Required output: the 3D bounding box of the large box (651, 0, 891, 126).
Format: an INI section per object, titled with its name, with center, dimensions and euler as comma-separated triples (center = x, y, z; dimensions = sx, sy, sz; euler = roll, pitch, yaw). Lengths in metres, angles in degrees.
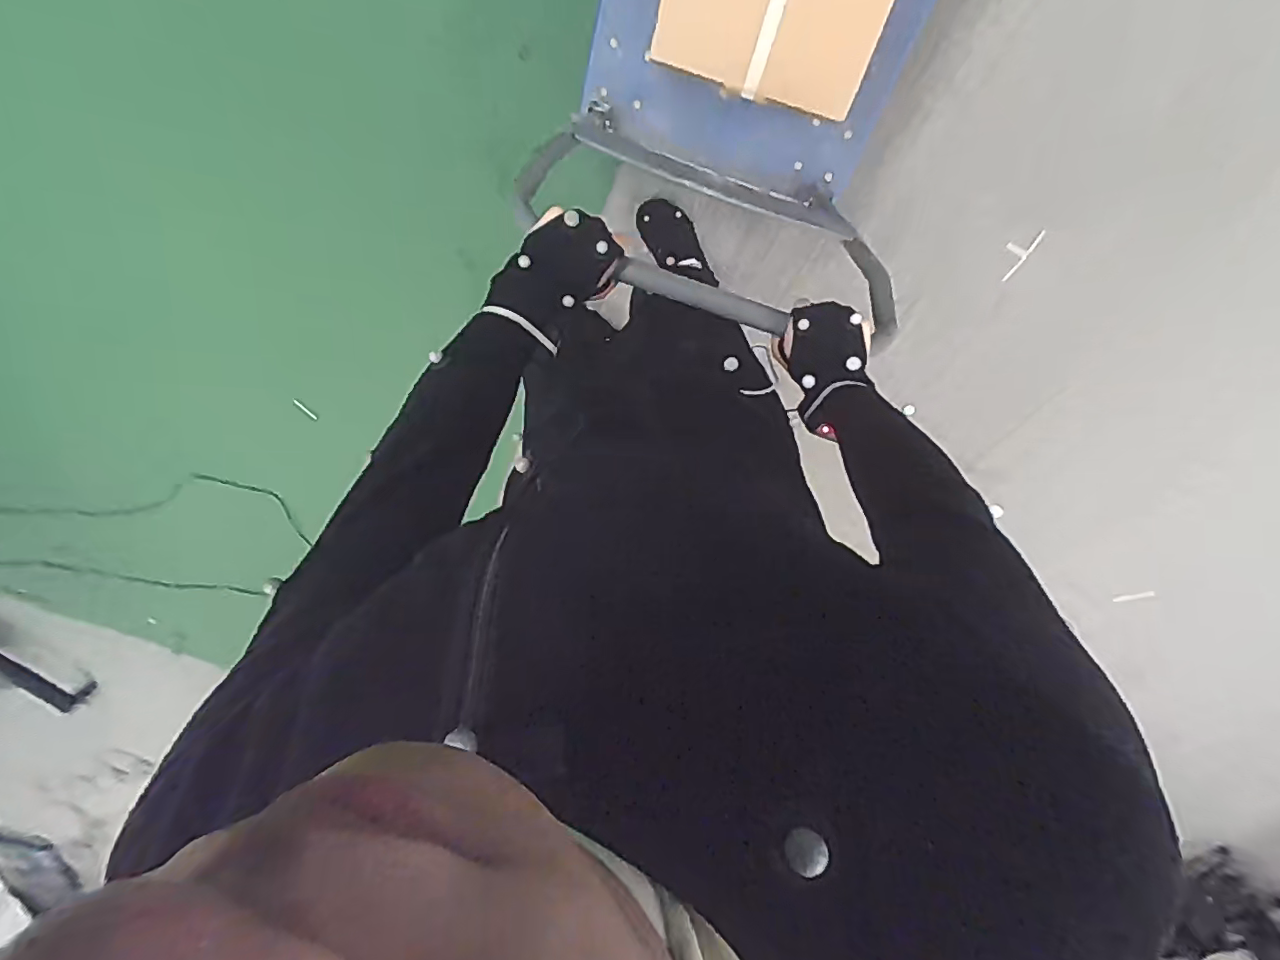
[large box]
center = 0.222, -0.821, 0.832
dimensions = 0.320, 0.320, 0.408
euler = 15, 125, -6
